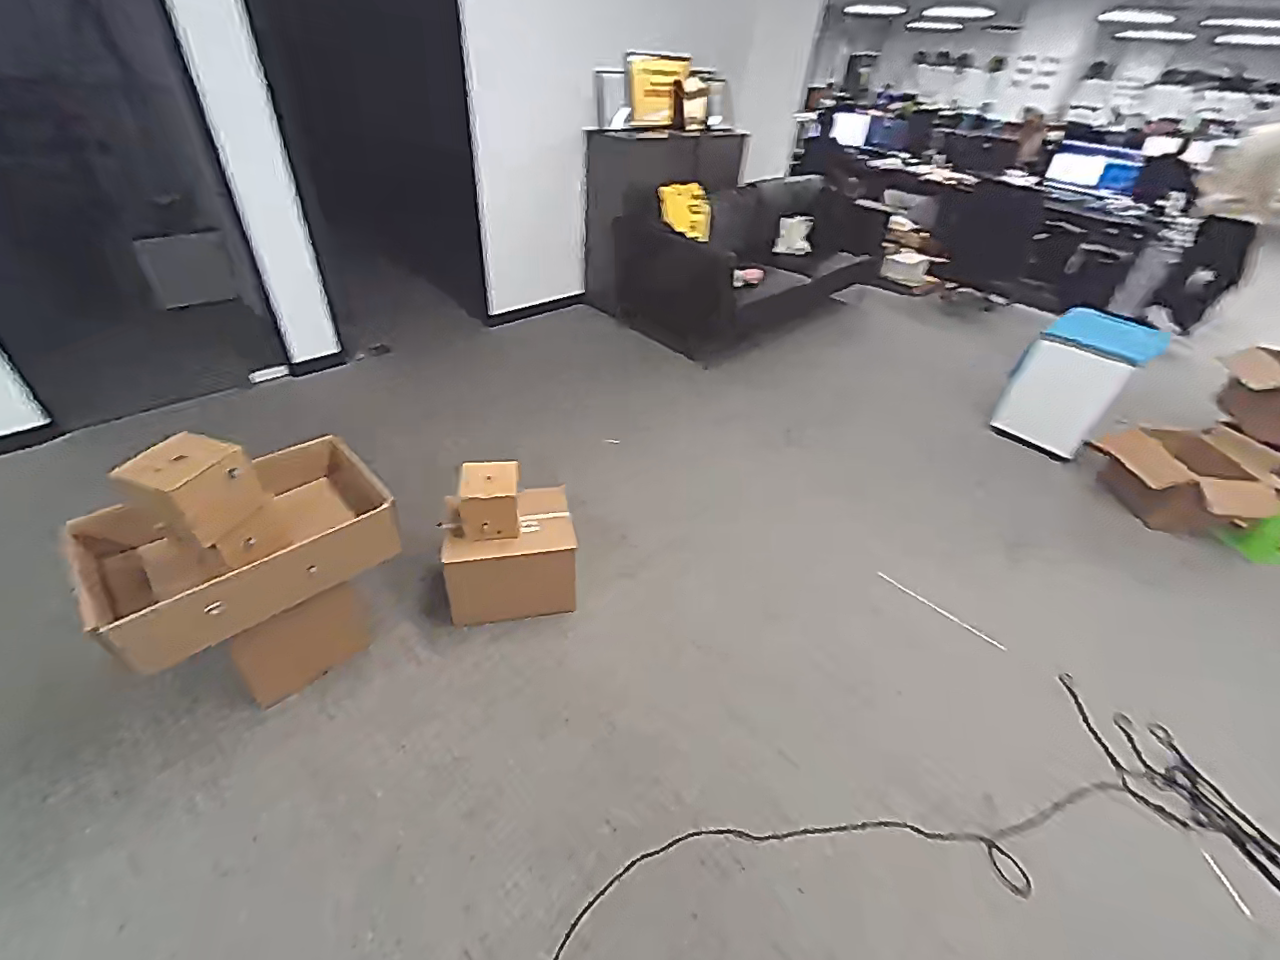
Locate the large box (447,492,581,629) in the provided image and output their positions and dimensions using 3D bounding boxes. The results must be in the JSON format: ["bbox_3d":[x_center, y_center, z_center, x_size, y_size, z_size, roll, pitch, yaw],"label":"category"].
[{"bbox_3d":[-0.427,0.266,1.831,0.408,0.320,0.320,-4,39,-14],"label":"large box"}]

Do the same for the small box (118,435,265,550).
[{"bbox_3d":[-0.996,0.028,1.225,0.168,0.176,0.179,14,40,11],"label":"small box"}]

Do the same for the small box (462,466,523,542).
[{"bbox_3d":[-0.451,0.072,1.678,0.168,0.176,0.179,-2,38,-10],"label":"small box"}]
